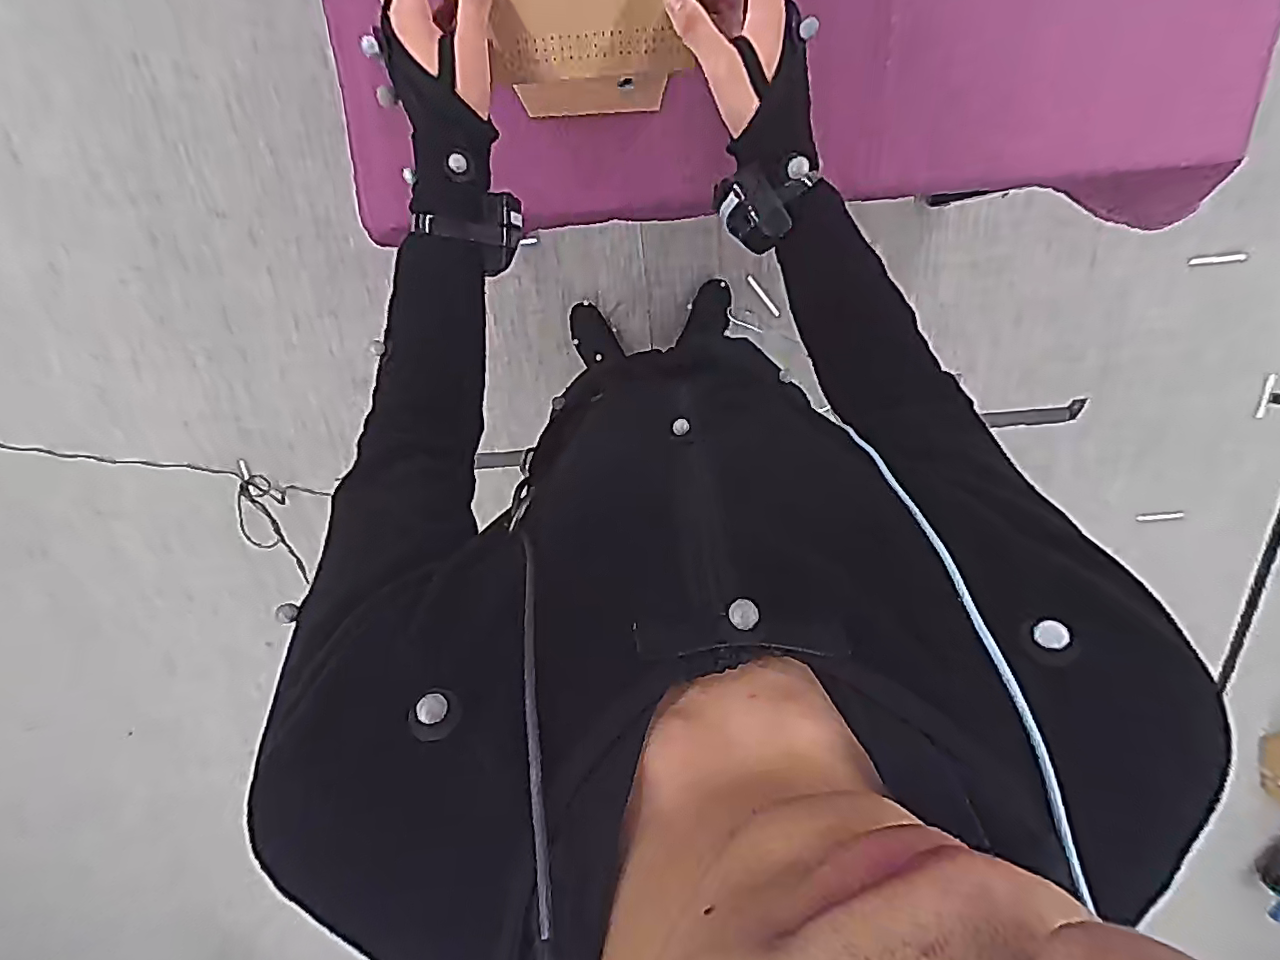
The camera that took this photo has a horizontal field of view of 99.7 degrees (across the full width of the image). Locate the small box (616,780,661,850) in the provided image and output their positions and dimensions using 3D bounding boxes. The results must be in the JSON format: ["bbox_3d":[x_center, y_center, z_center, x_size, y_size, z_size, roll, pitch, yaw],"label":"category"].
[{"bbox_3d":[-0.008,1.295,2.101,0.168,0.176,0.179,-2,112,-1],"label":"small box"}]

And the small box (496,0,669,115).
[{"bbox_3d":[-0.063,-0.532,0.611,0.179,0.176,0.168,-3,111,-1],"label":"small box"}]
